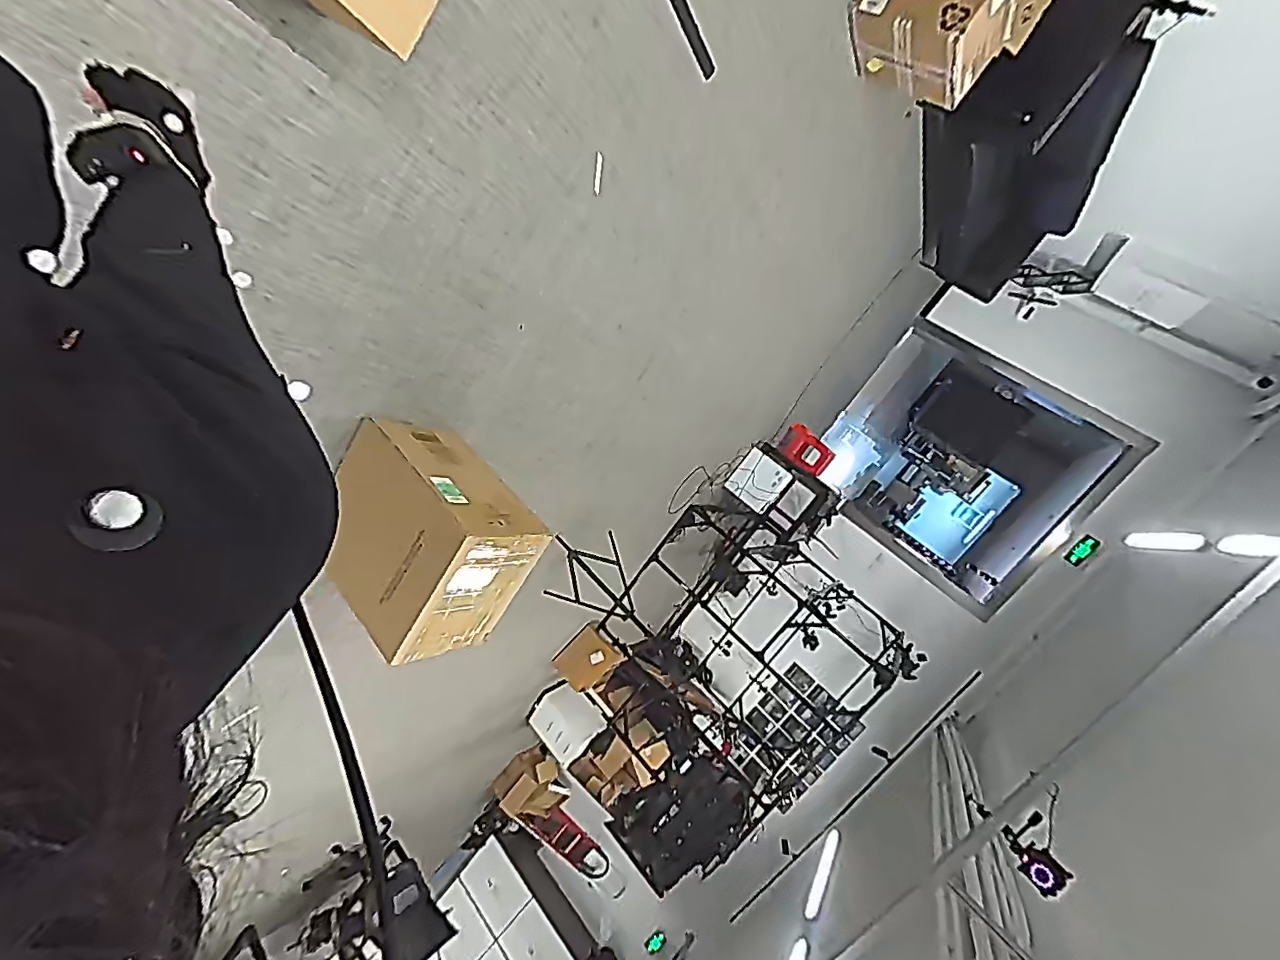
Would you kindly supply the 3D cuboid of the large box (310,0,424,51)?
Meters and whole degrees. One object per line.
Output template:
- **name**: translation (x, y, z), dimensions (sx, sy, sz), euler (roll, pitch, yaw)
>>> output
- **large box**: translation (-0.553, -1.012, 0.846), dimensions (0.320, 0.320, 0.408), euler (-53, 157, 12)
